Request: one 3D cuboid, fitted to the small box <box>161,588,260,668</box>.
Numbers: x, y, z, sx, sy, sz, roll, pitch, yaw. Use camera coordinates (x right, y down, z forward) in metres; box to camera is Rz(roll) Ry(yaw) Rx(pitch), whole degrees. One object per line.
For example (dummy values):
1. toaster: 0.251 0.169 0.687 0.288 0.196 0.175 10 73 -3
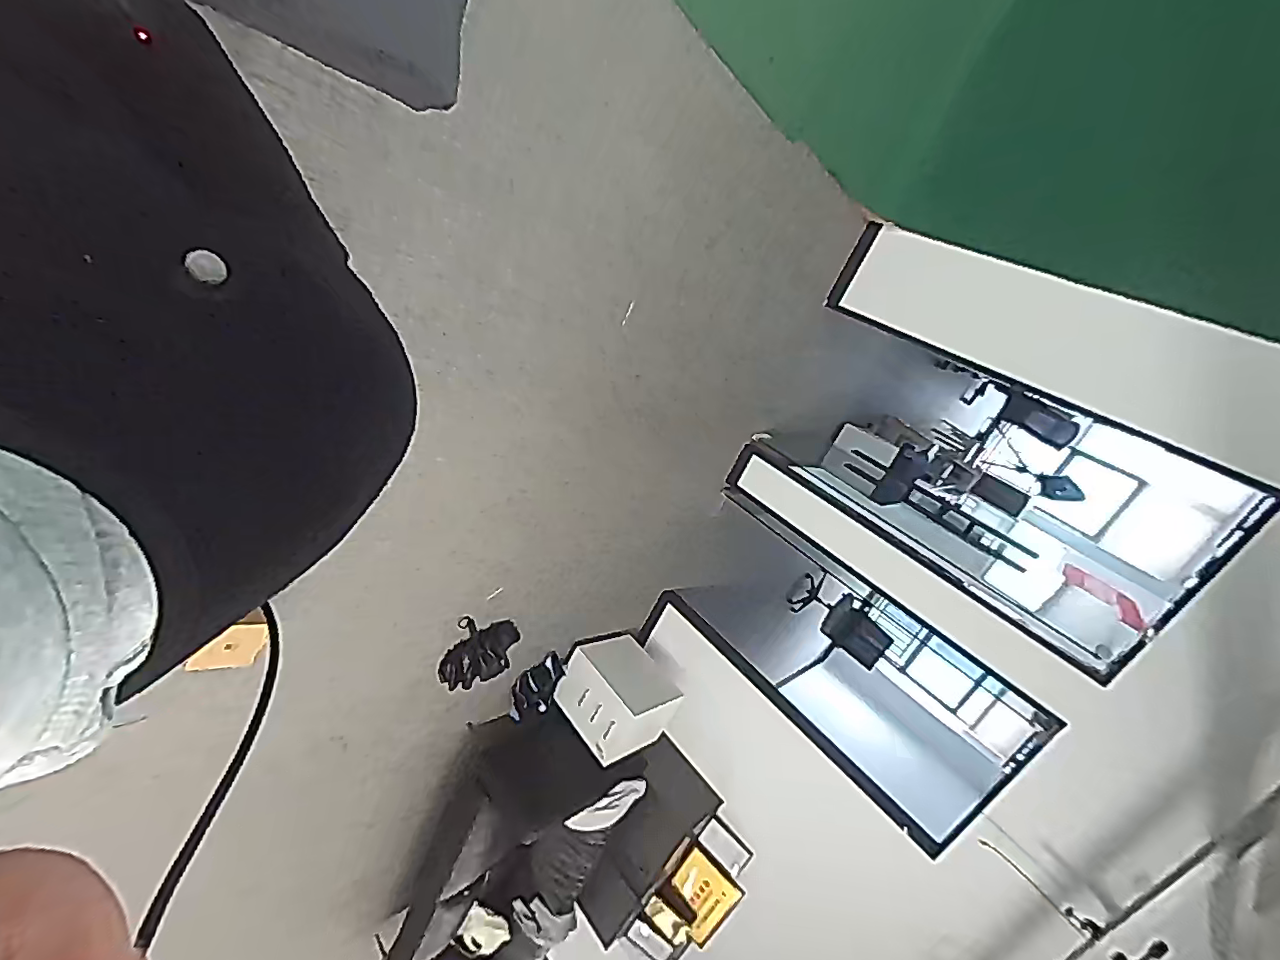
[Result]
1. small box: -1.305 0.443 1.639 0.179 0.176 0.168 19 105 -56
